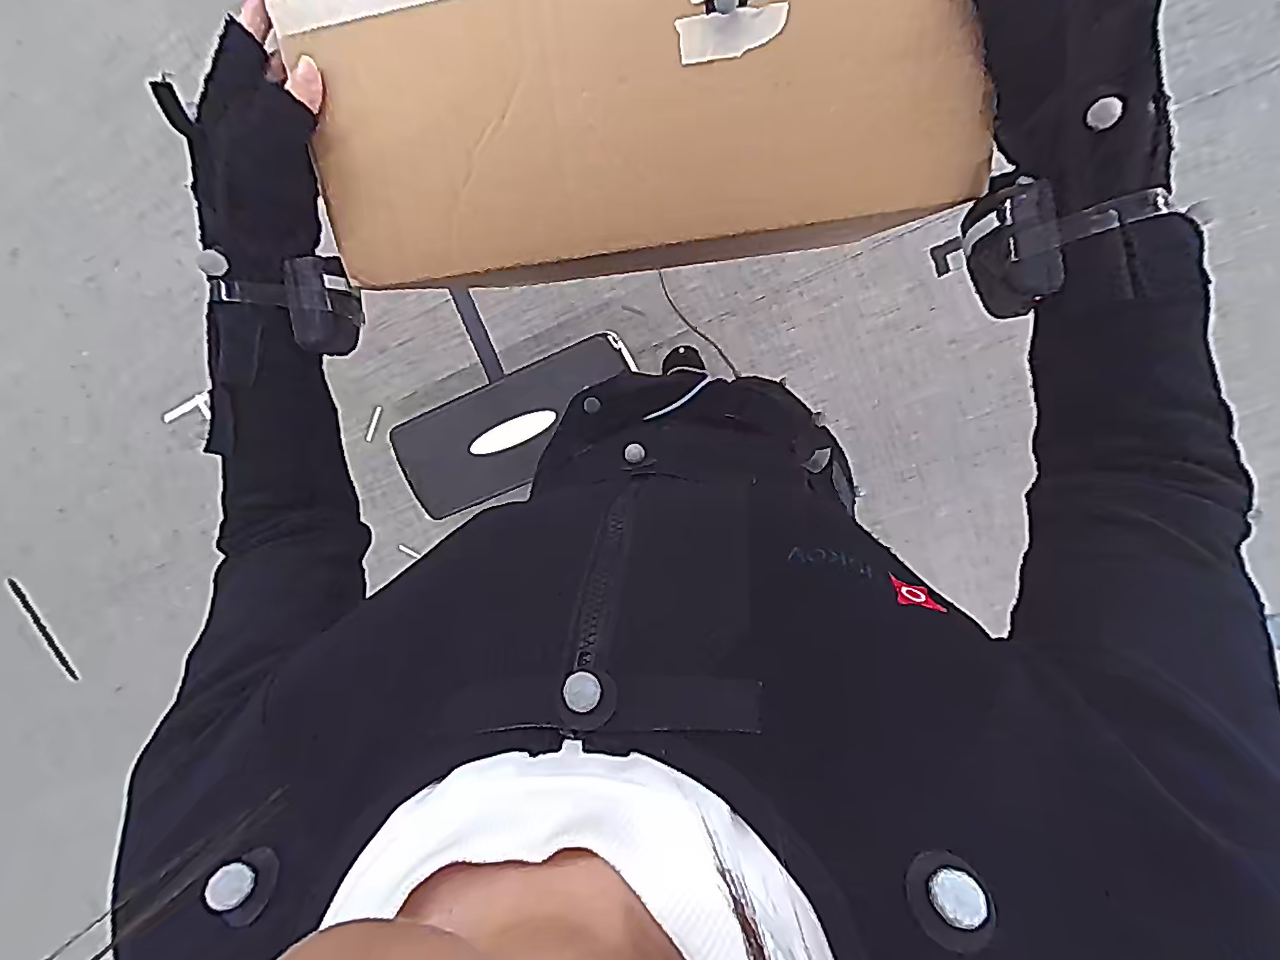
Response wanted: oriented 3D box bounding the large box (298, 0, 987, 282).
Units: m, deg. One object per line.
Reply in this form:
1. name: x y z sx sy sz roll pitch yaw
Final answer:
1. large box: 0.002 -0.353 0.441 0.408 0.320 0.320 -5 110 10
